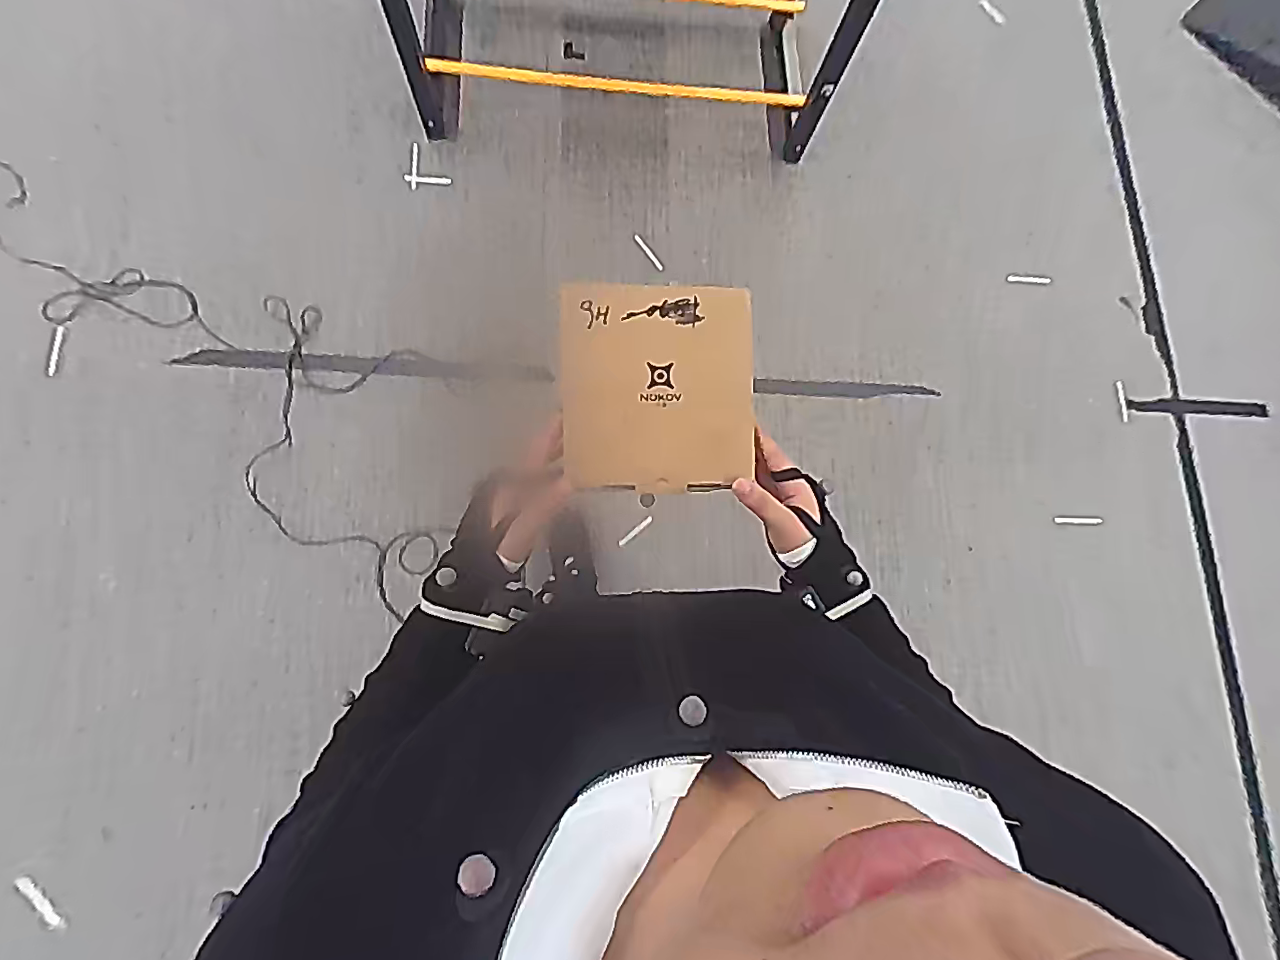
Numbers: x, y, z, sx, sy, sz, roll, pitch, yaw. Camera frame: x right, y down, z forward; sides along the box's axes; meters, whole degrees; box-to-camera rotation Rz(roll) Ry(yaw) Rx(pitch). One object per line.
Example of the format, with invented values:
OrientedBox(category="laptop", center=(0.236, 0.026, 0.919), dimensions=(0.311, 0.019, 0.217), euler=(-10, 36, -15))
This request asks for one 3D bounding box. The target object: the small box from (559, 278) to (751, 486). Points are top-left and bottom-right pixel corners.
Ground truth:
OrientedBox(category="small box", center=(0.007, -0.082, 0.538), dimensions=(0.168, 0.176, 0.179), euler=(-1, 89, -6))
